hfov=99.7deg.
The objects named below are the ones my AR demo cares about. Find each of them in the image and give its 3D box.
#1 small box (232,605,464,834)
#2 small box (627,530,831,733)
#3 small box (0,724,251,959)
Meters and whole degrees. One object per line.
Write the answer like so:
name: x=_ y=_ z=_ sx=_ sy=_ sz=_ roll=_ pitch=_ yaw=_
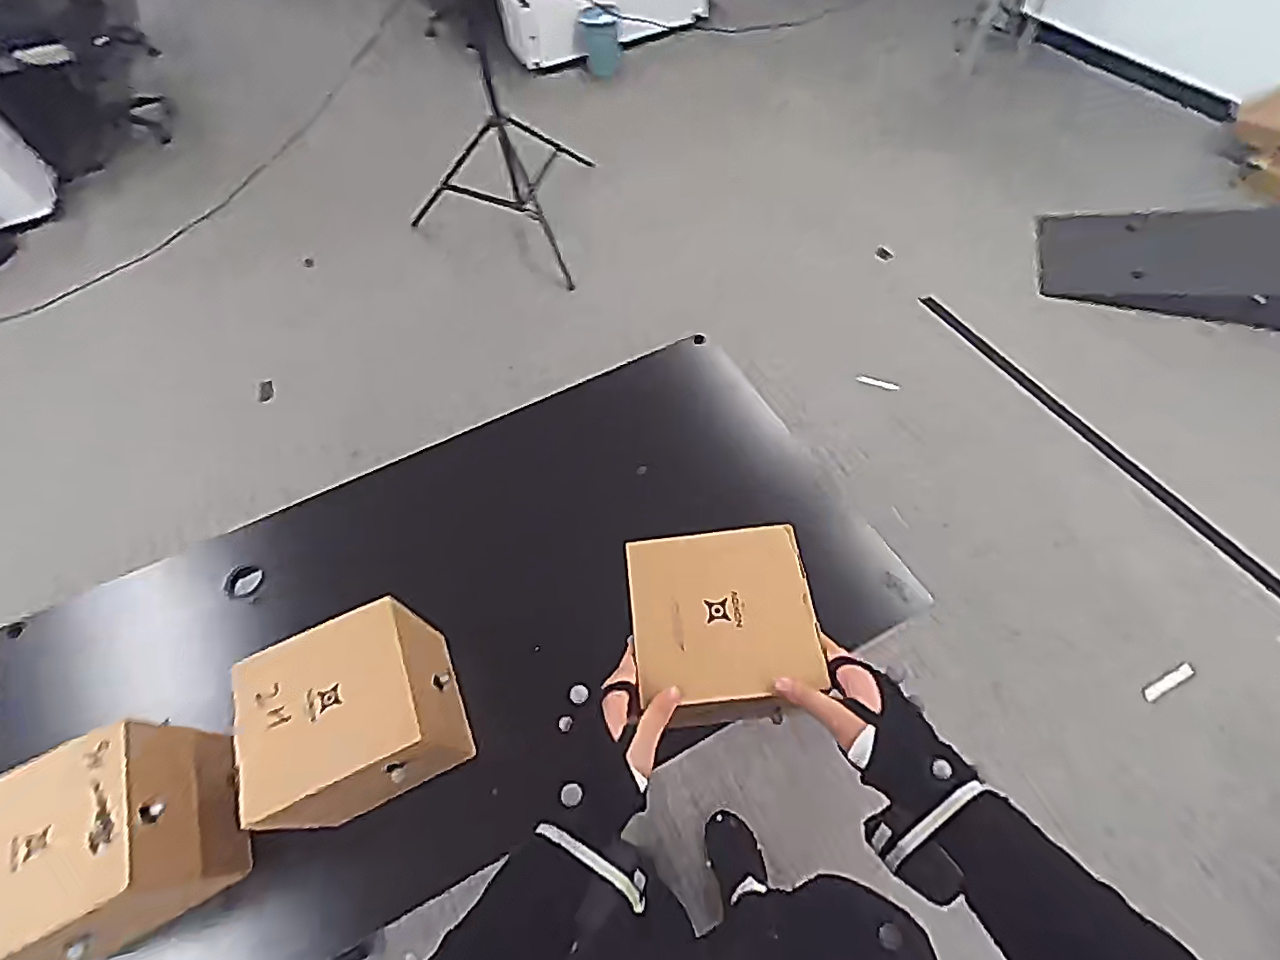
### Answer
small box: x=-0.320 y=0.275 z=0.623 sx=0.179 sy=0.176 sz=0.168 roll=-25 pitch=59 yaw=-10
small box: x=0.086 y=0.171 z=0.589 sx=0.179 sy=0.176 sz=0.168 roll=-8 pitch=58 yaw=3
small box: x=-0.562 y=0.391 z=0.572 sx=0.179 sy=0.176 sz=0.168 roll=-28 pitch=60 yaw=-12
